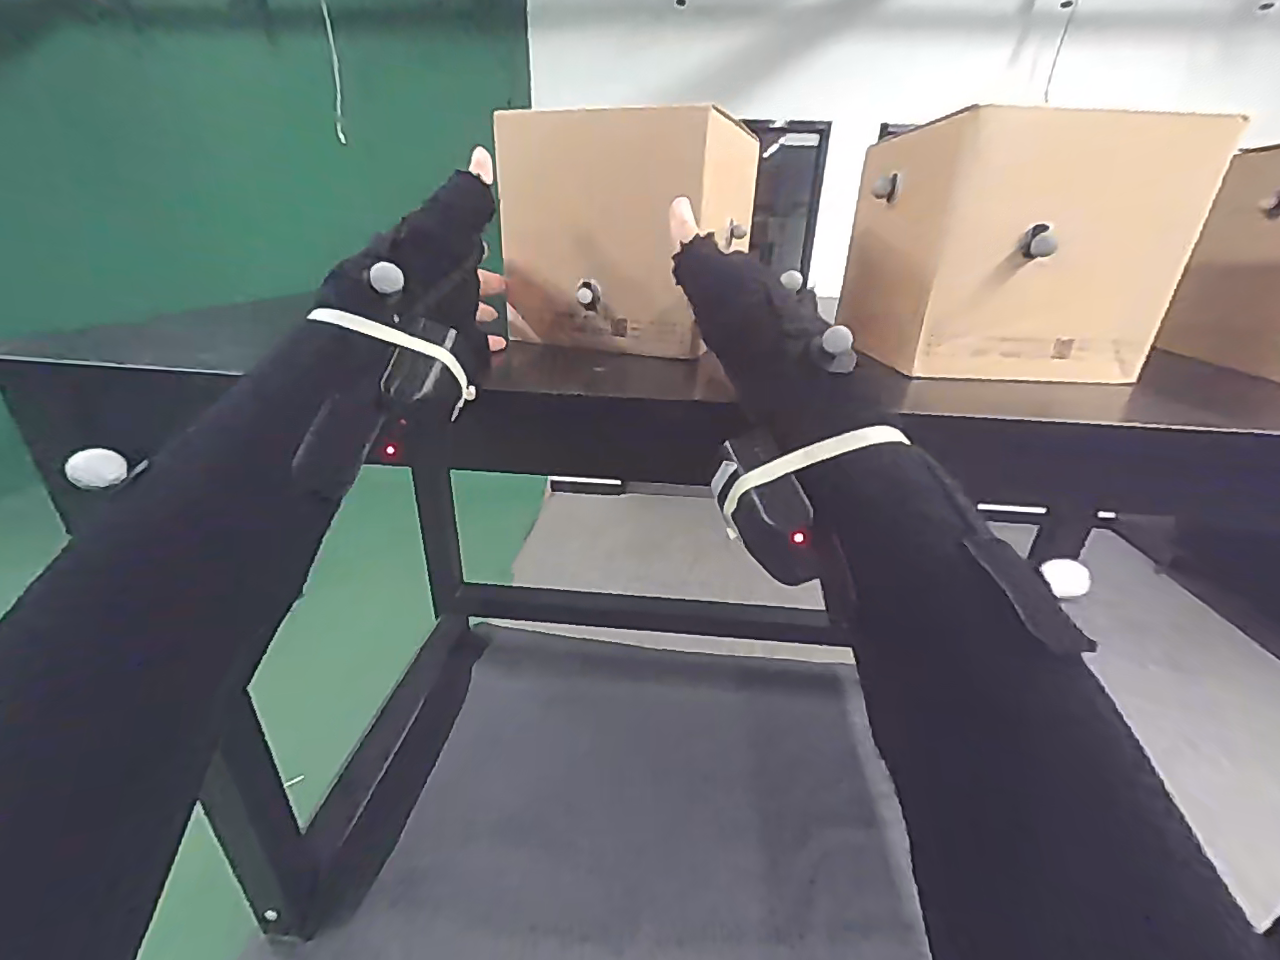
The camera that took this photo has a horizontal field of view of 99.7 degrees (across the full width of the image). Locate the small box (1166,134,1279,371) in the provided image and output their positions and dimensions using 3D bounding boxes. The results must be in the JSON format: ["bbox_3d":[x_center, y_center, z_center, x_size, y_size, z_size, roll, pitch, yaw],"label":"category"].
[{"bbox_3d":[0.570,-0.169,0.409,0.168,0.176,0.179,5,26,9],"label":"small box"}]

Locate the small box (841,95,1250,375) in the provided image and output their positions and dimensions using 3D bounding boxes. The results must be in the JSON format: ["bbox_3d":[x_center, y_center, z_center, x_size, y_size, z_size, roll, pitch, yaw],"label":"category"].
[{"bbox_3d":[0.277,-0.182,0.424,0.168,0.176,0.179,1,24,-1],"label":"small box"}]
